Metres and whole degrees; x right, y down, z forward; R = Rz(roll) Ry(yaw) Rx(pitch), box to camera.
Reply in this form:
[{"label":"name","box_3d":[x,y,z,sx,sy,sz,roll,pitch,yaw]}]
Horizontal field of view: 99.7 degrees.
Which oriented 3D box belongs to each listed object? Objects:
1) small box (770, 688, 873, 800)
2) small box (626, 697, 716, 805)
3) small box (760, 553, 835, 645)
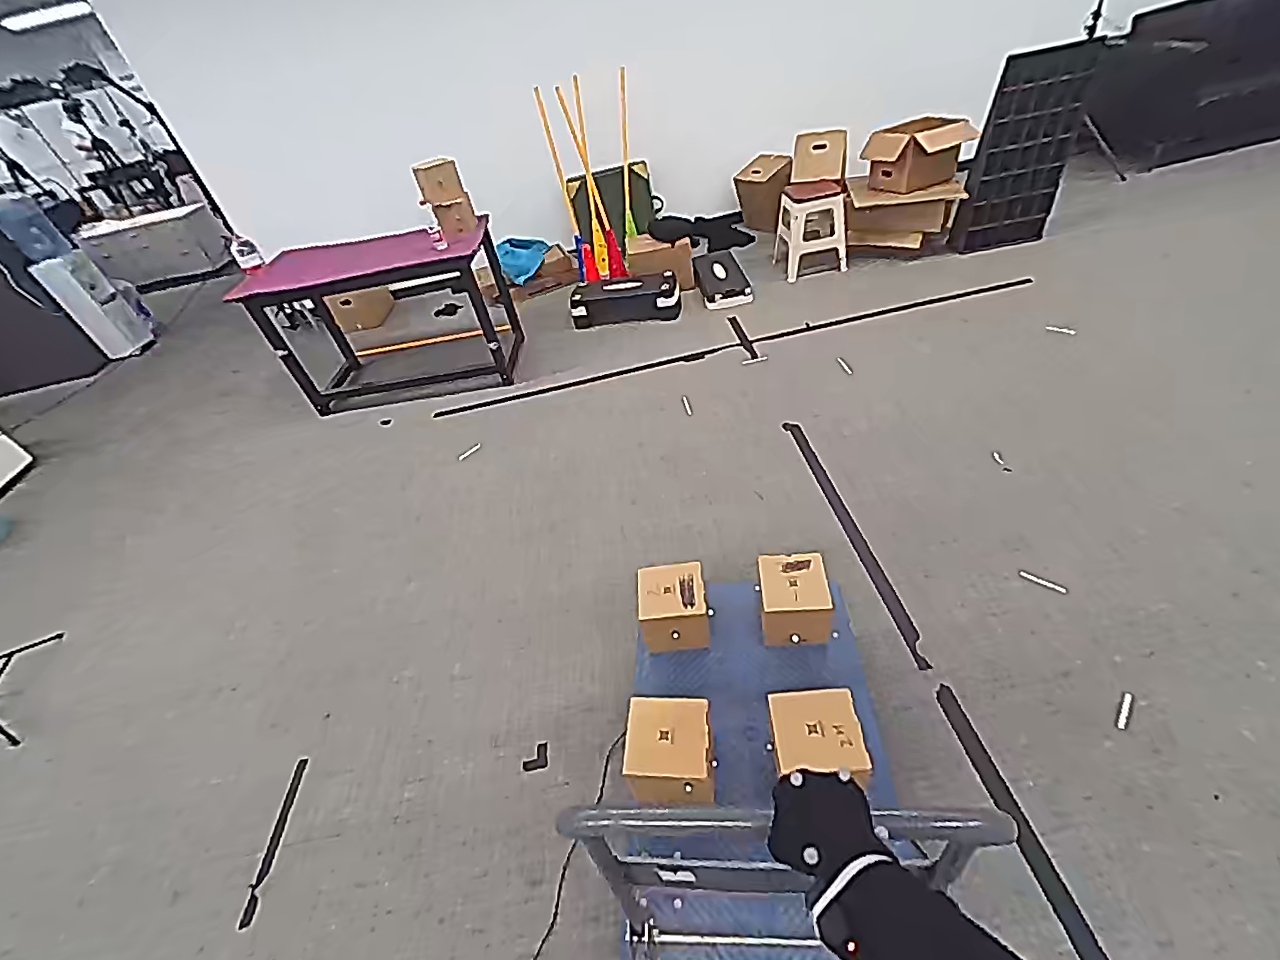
[{"label":"small box","box_3d":[0.381,0.570,1.159,0.179,0.176,0.168,-7,42,7]},{"label":"small box","box_3d":[0.076,0.603,1.202,0.179,0.176,0.168,-2,42,9]},{"label":"small box","box_3d":[0.409,0.317,1.433,0.168,0.176,0.179,-5,43,9]}]
